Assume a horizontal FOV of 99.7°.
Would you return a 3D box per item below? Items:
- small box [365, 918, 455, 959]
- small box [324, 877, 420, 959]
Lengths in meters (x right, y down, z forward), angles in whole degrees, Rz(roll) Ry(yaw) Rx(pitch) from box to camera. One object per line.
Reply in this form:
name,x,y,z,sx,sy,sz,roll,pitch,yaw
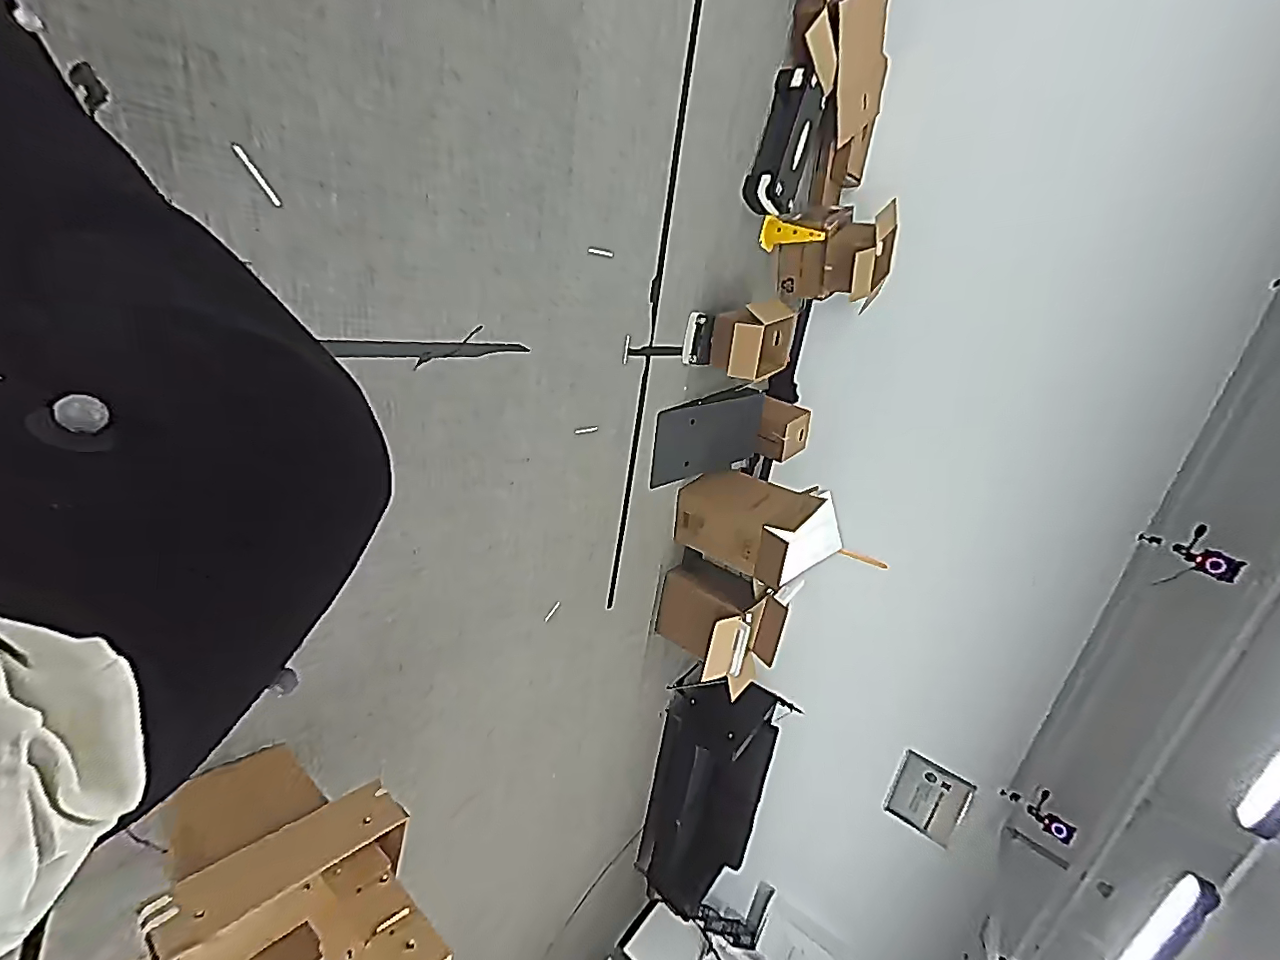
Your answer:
small box,-0.637,1.336,1.452,0.168,0.176,0.179,15,97,-58
small box,-0.766,1.285,1.541,0.168,0.176,0.179,8,104,-57
